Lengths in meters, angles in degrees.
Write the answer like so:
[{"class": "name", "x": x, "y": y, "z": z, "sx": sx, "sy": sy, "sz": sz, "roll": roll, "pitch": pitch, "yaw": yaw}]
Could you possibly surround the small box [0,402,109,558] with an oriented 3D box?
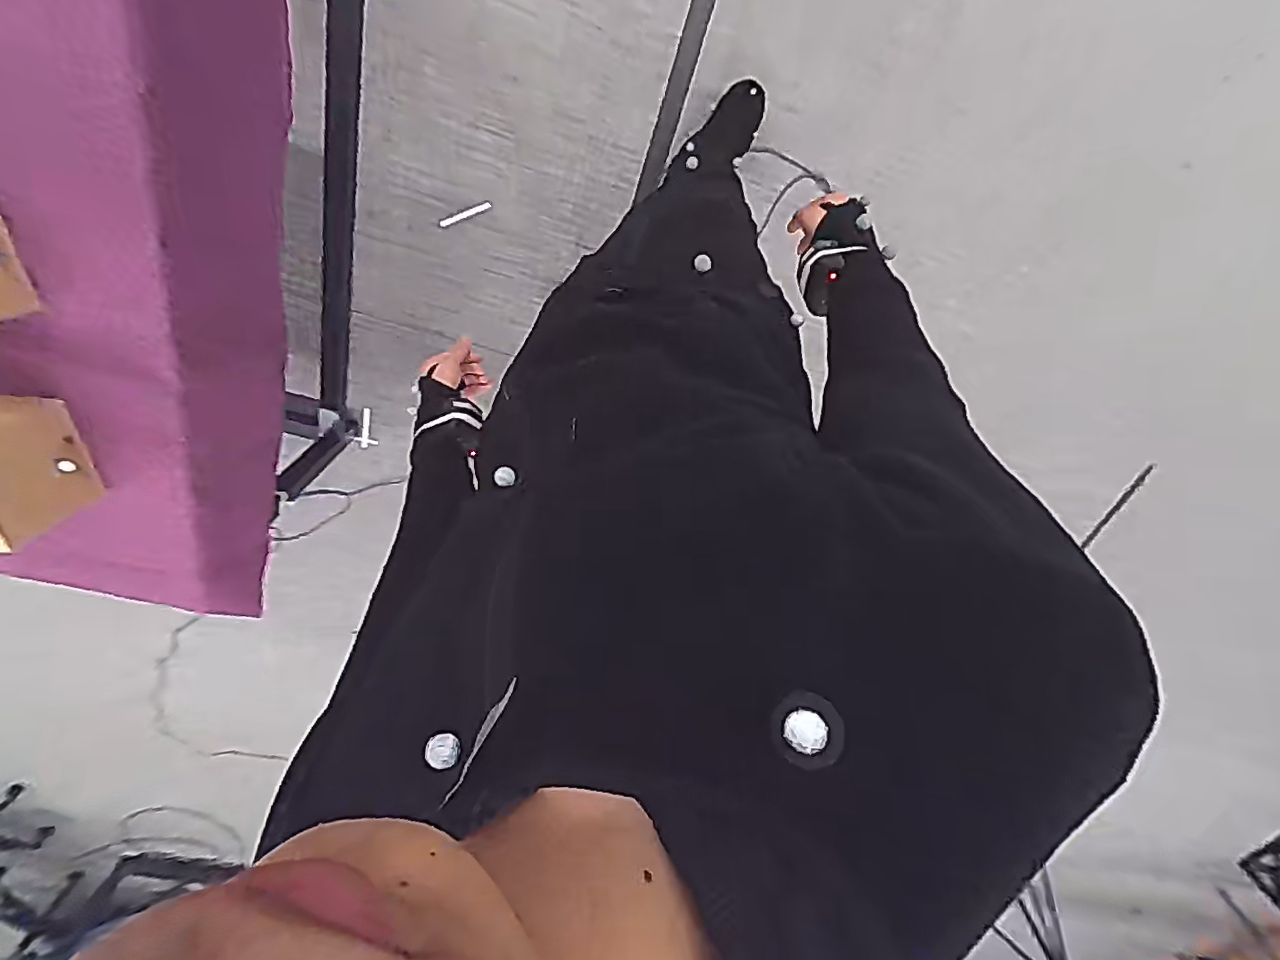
[{"class": "small box", "x": -0.944, "y": -0.007, "z": 0.775, "sx": 0.179, "sy": 0.176, "sz": 0.168, "roll": 2, "pitch": 120, "yaw": -3}]
